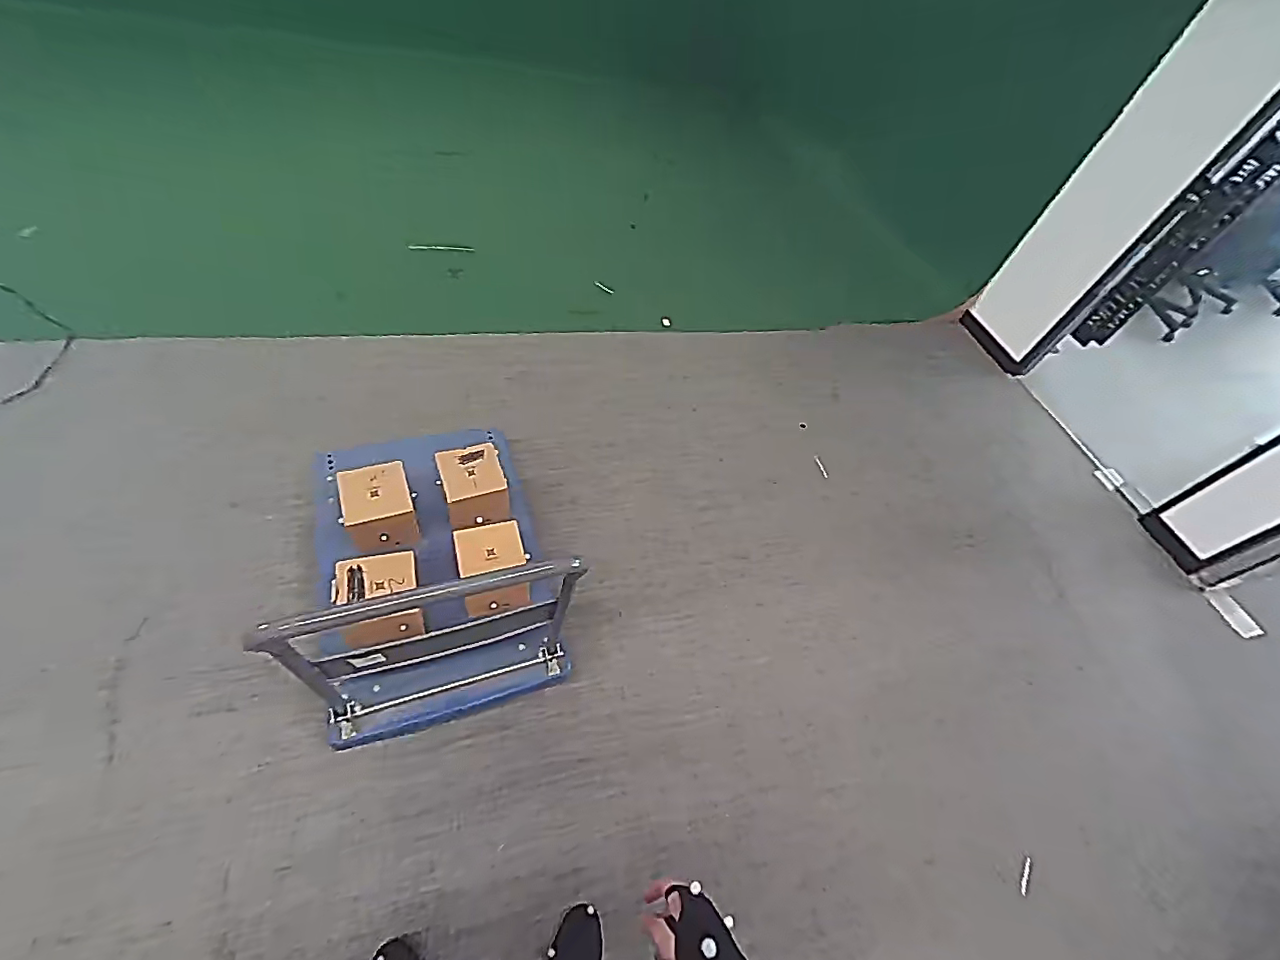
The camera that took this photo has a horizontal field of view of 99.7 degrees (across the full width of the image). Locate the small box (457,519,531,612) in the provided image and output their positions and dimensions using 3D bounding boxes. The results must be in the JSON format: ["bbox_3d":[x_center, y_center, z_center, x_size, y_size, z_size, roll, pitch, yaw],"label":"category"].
[{"bbox_3d":[-0.393,0.230,1.448,0.168,0.176,0.179,-9,58,-20],"label":"small box"}]

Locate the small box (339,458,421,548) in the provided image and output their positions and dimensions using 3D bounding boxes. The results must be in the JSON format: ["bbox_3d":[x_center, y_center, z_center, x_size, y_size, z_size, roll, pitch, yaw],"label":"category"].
[{"bbox_3d":[-0.709,0.070,1.487,0.168,0.176,0.179,-13,59,-23],"label":"small box"}]

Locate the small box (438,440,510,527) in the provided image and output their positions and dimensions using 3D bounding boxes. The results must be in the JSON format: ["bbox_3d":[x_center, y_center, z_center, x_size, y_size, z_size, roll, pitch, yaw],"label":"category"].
[{"bbox_3d":[-0.483,0.013,1.582,0.168,0.176,0.179,-14,60,-21],"label":"small box"}]
